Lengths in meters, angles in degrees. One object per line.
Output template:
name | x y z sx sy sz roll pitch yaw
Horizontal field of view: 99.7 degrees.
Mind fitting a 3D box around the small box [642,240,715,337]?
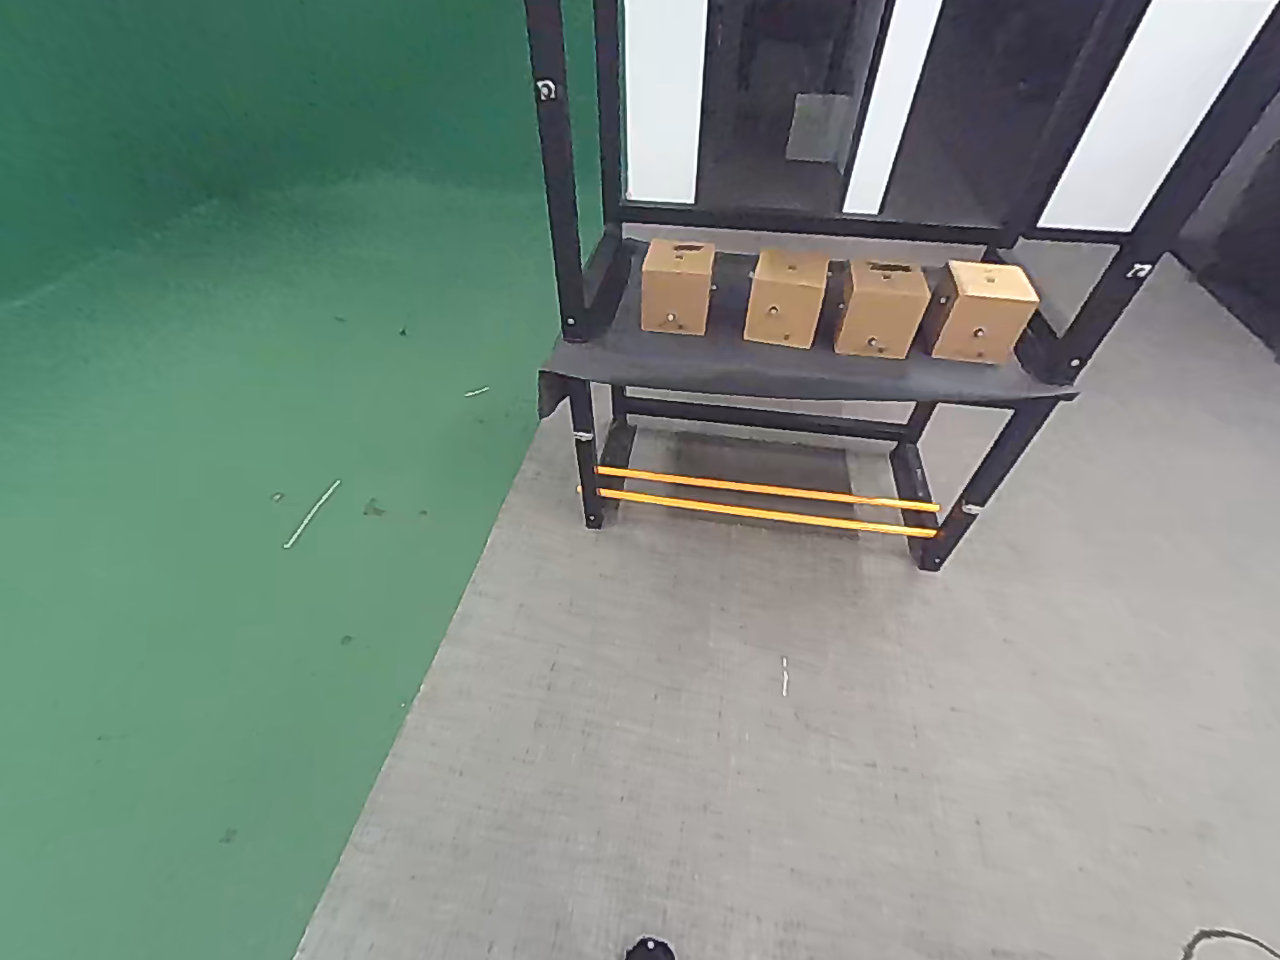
small box | 0.096 -0.490 1.385 0.168 0.176 0.179 7 48 6

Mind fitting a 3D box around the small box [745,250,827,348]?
small box | 0.361 -0.450 1.350 0.168 0.176 0.179 11 47 11

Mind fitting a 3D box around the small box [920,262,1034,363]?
small box | 0.796 -0.400 1.296 0.168 0.176 0.179 9 47 8
